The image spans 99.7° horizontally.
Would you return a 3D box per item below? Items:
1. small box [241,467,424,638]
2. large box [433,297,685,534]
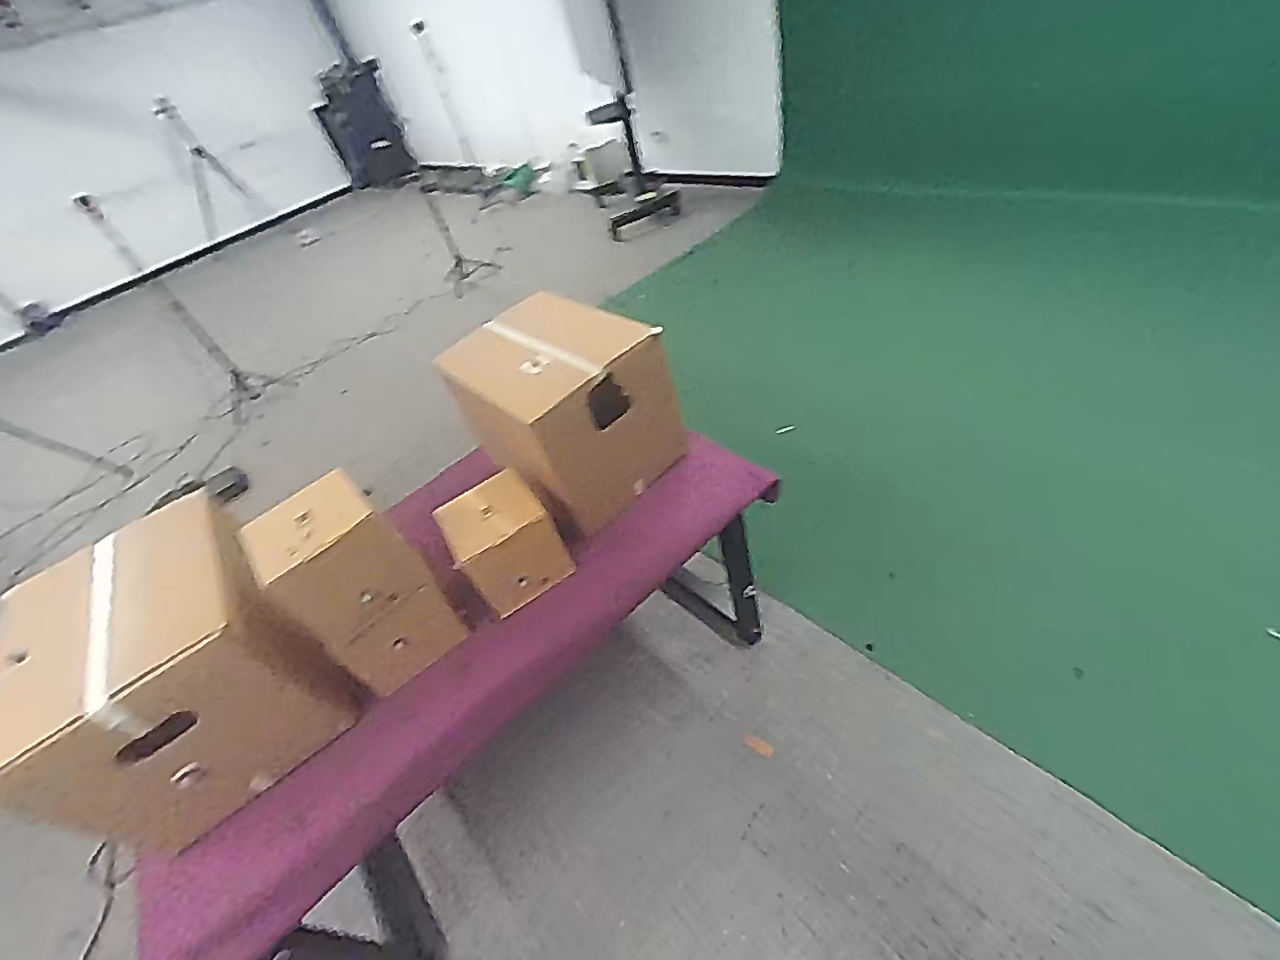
[{"bbox_3d":[-0.479,0.115,0.854,0.168,0.176,0.179,-39,46,-21],"label":"small box"},{"bbox_3d":[-0.167,-0.154,1.175,0.320,0.320,0.408,-41,48,-21],"label":"large box"}]
